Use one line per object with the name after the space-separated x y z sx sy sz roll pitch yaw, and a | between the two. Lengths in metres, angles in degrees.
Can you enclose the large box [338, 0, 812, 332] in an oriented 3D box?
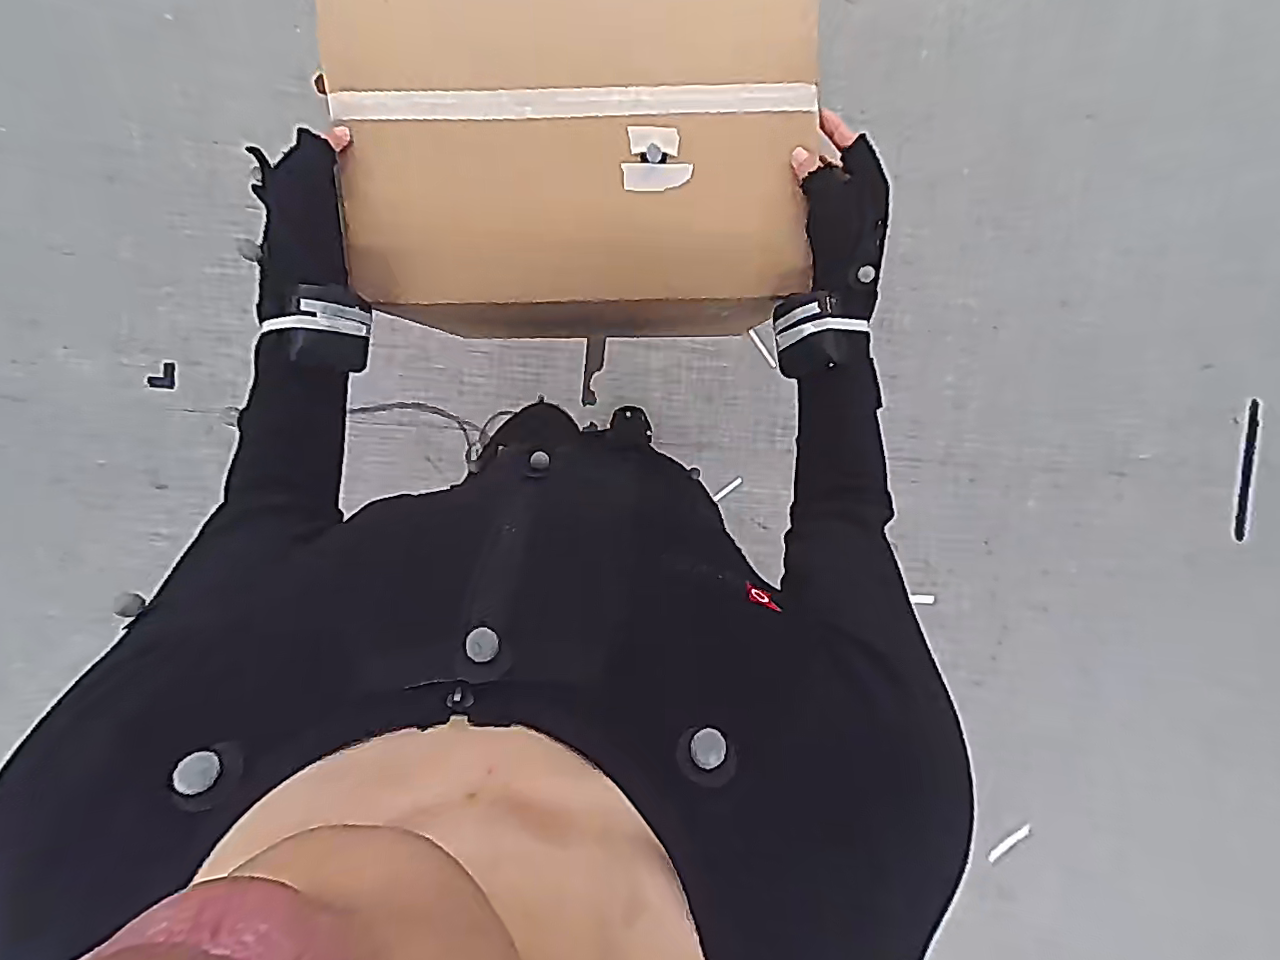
-0.055 -0.349 0.612 0.408 0.320 0.320 -2 100 -1 | large box
